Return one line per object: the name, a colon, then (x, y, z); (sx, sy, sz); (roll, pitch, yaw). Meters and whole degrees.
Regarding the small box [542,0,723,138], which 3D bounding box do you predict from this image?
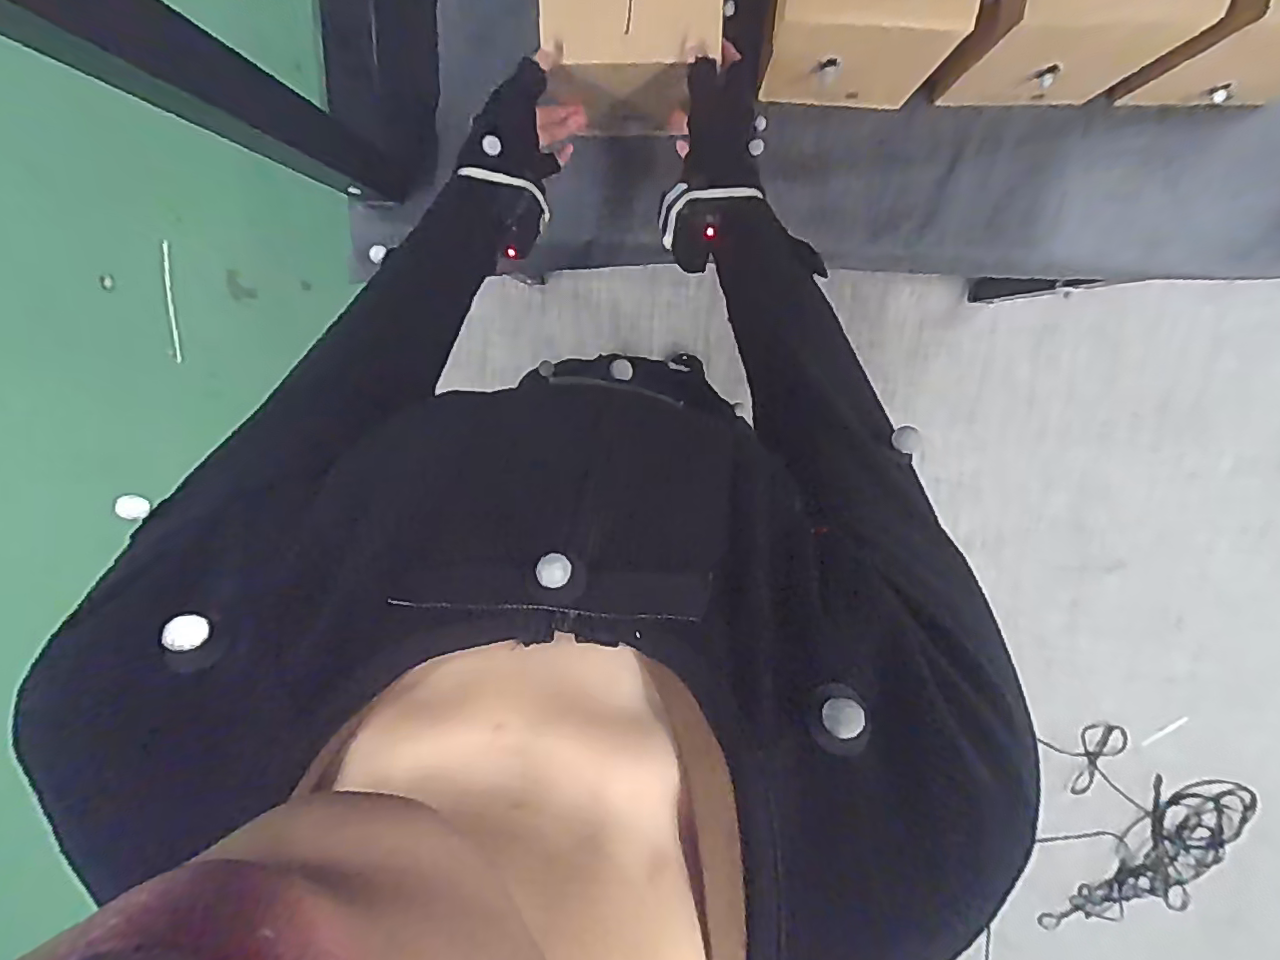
small box: (-0.003, -0.482, 0.556); (0.168, 0.176, 0.179); (1, 104, 3)
